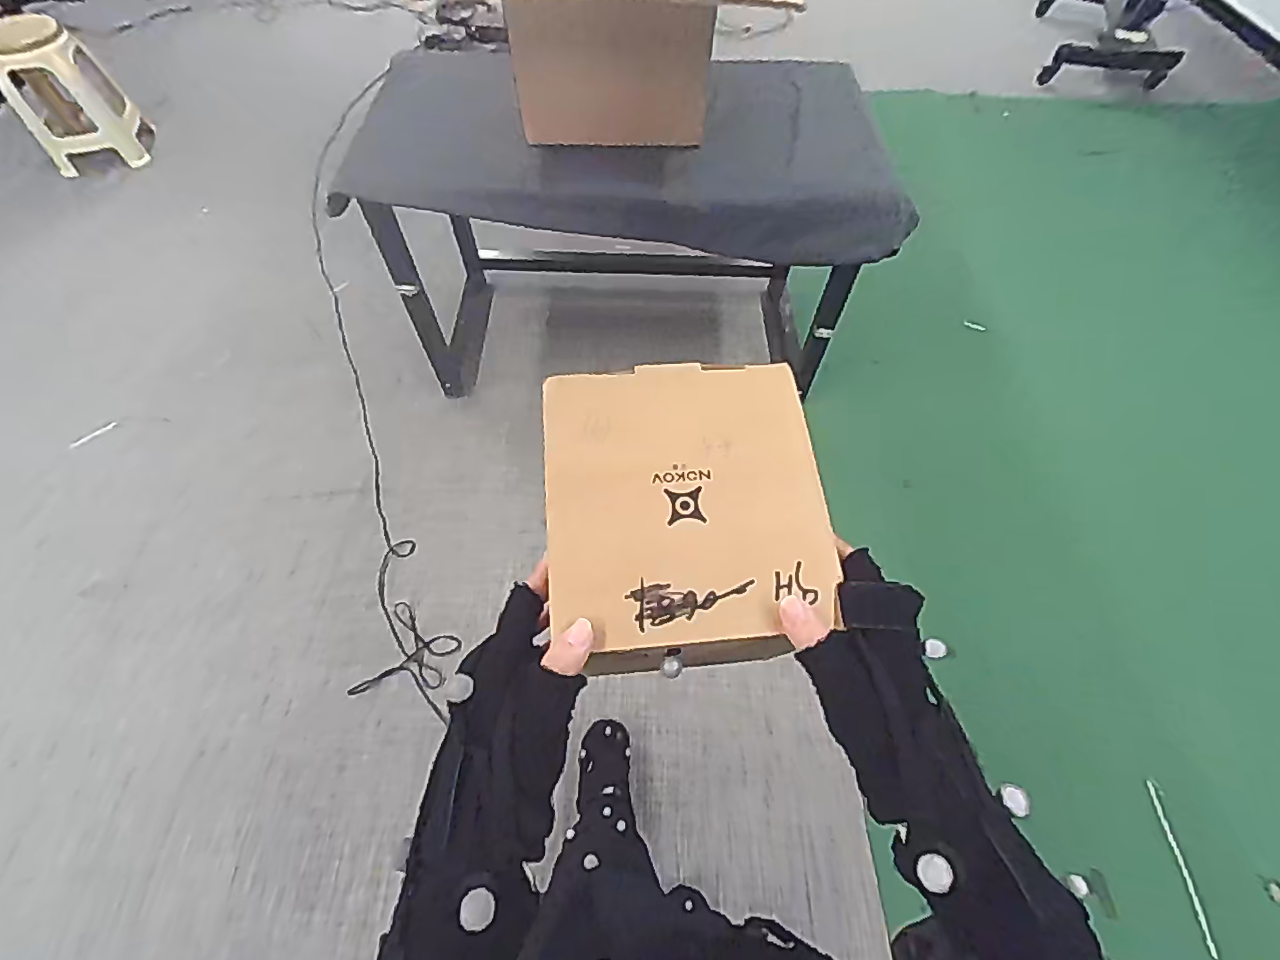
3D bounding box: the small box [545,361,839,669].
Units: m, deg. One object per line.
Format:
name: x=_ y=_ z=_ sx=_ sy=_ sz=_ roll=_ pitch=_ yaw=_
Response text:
small box: x=0.021 y=0.035 z=0.402 sx=0.168 sy=0.176 sz=0.179 roll=-4 pitch=66 yaw=-3
